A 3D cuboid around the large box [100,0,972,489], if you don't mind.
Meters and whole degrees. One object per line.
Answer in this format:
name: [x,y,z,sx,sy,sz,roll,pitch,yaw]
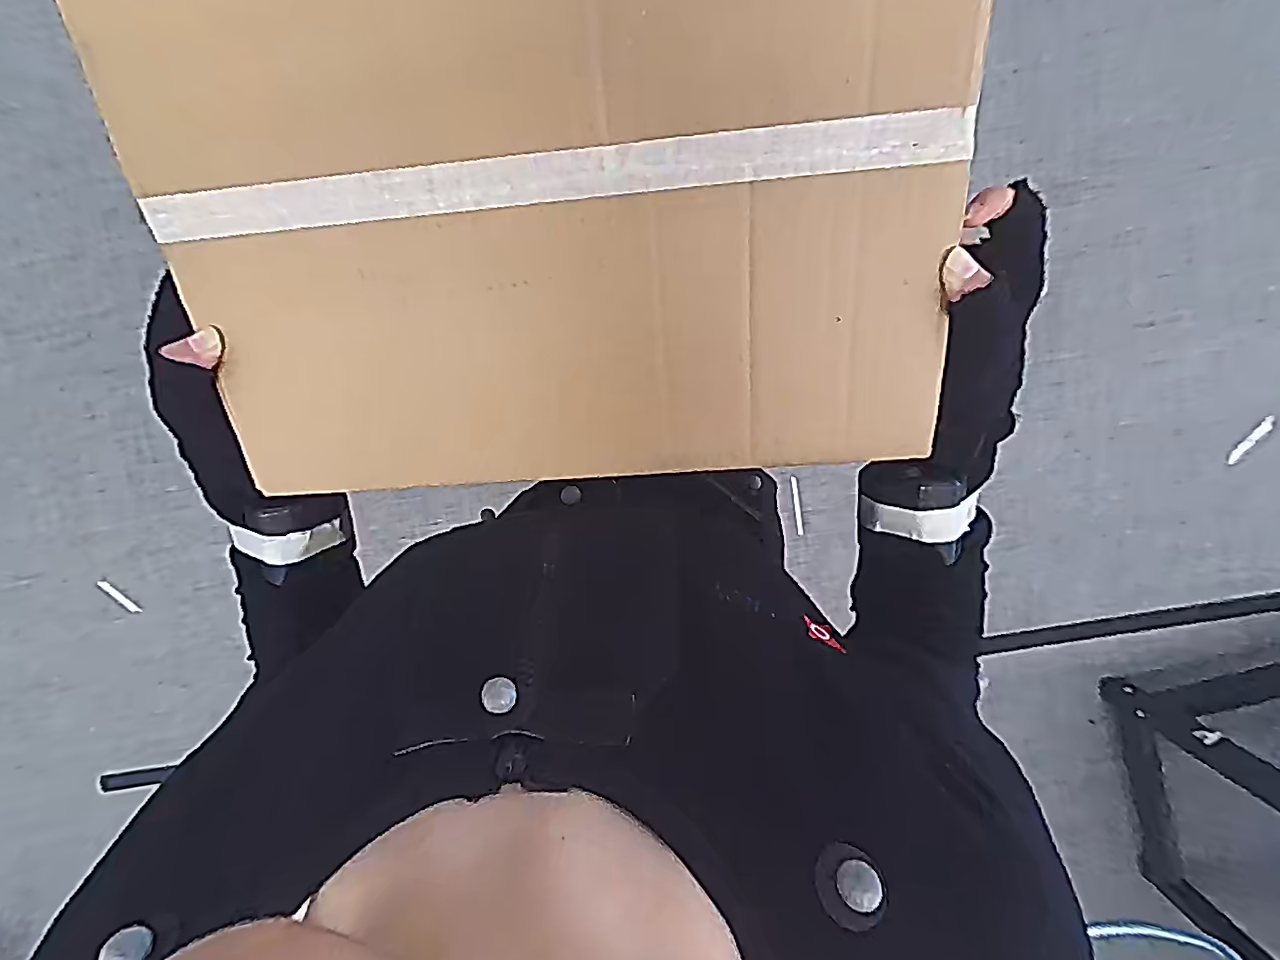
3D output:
large box: [-0.042,-0.205,0.411,0.408,0.320,0.320,-4,114,4]
